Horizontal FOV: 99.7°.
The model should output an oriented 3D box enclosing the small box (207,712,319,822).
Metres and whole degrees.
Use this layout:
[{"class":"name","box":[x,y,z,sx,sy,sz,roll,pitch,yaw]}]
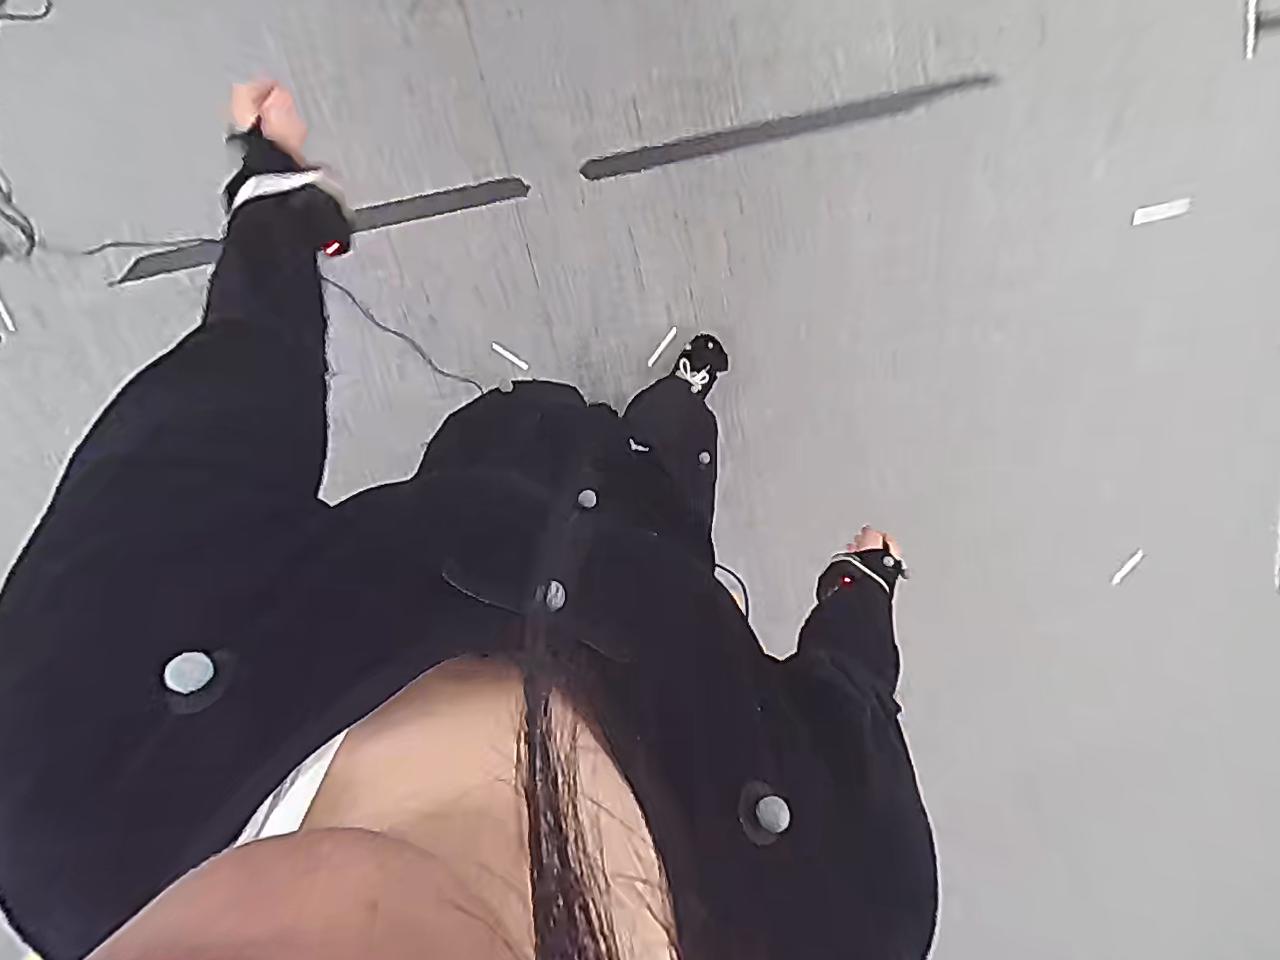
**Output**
[{"class":"small box","box":[-0.862,0.663,1.204,0.168,0.176,0.179,35,98,-10]}]
